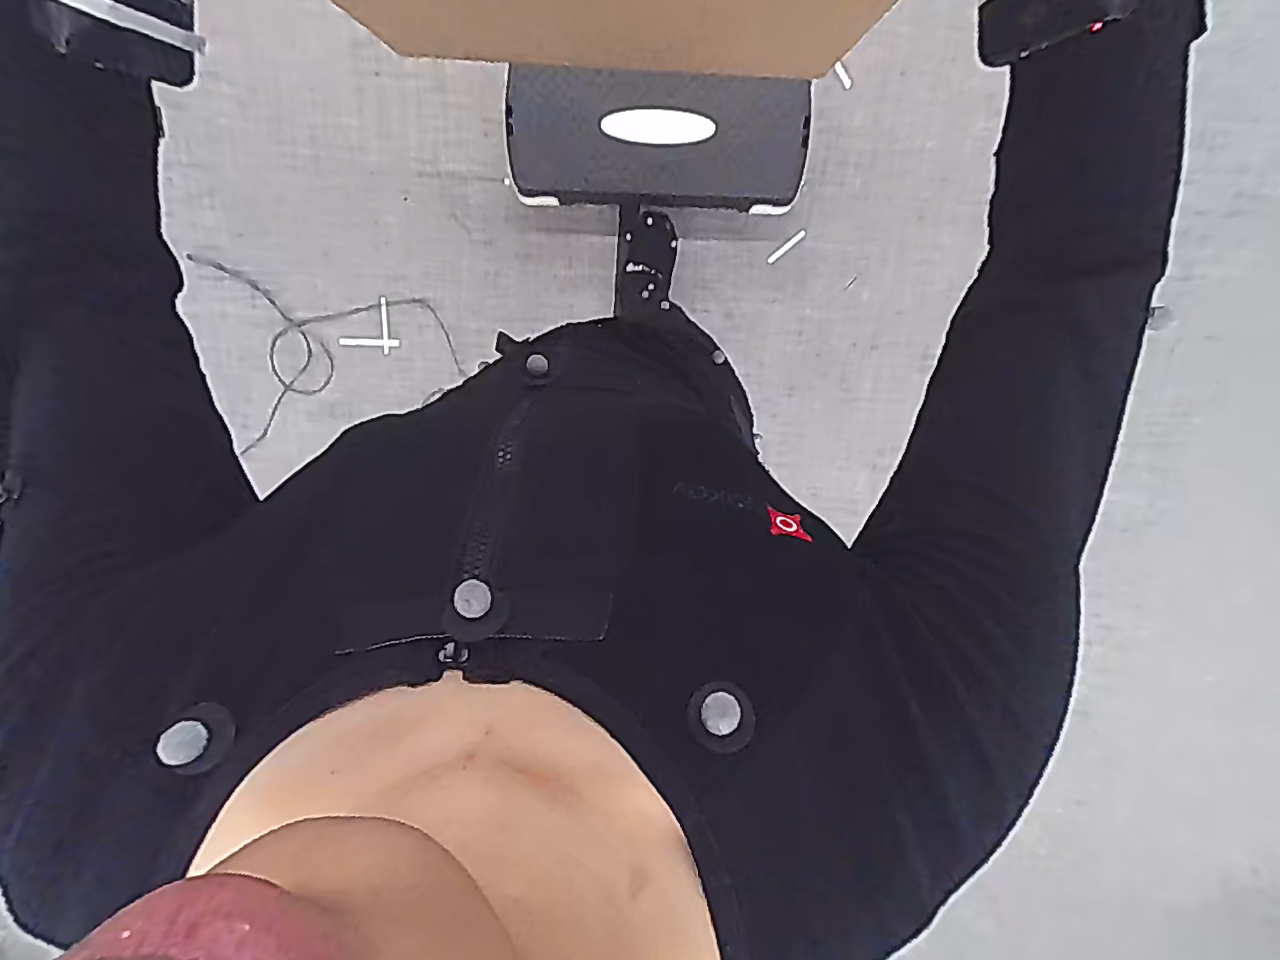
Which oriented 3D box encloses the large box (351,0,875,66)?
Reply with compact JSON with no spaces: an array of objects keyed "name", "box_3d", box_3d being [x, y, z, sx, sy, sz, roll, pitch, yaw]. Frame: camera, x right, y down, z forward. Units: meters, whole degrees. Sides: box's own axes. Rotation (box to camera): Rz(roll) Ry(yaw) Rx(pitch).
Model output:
[{"name":"large box","box_3d":[-0.022,-0.484,0.322,0.408,0.320,0.320,2,113,0]}]
